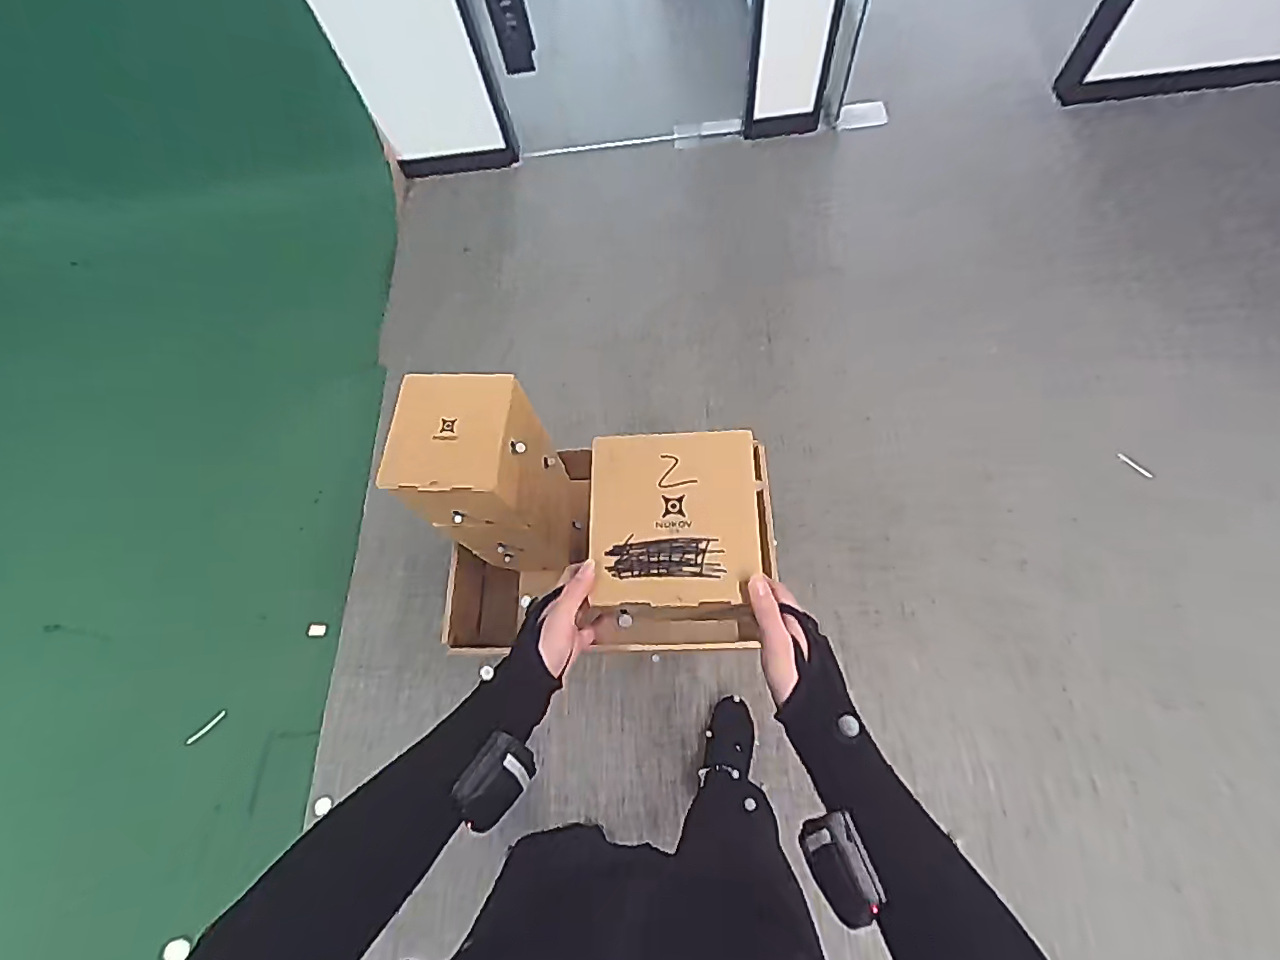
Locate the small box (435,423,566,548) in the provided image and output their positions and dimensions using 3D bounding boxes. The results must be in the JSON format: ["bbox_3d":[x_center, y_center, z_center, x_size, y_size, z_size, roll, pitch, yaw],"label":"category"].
[{"bbox_3d":[-0.234,0.012,0.959,0.168,0.176,0.179,1,69,7],"label":"small box"}]

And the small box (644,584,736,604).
[{"bbox_3d":[0.096,0.143,1.048,0.168,0.176,0.179,-3,67,5],"label":"small box"}]

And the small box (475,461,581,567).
[{"bbox_3d":[-0.220,0.072,1.111,0.168,0.176,0.179,-1,68,5],"label":"small box"}]

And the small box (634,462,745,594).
[{"bbox_3d":[0.079,0.084,0.897,0.168,0.176,0.179,-3,68,5],"label":"small box"}]

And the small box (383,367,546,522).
[{"bbox_3d":[-0.247,-0.048,0.809,0.168,0.176,0.179,2,70,7],"label":"small box"}]
